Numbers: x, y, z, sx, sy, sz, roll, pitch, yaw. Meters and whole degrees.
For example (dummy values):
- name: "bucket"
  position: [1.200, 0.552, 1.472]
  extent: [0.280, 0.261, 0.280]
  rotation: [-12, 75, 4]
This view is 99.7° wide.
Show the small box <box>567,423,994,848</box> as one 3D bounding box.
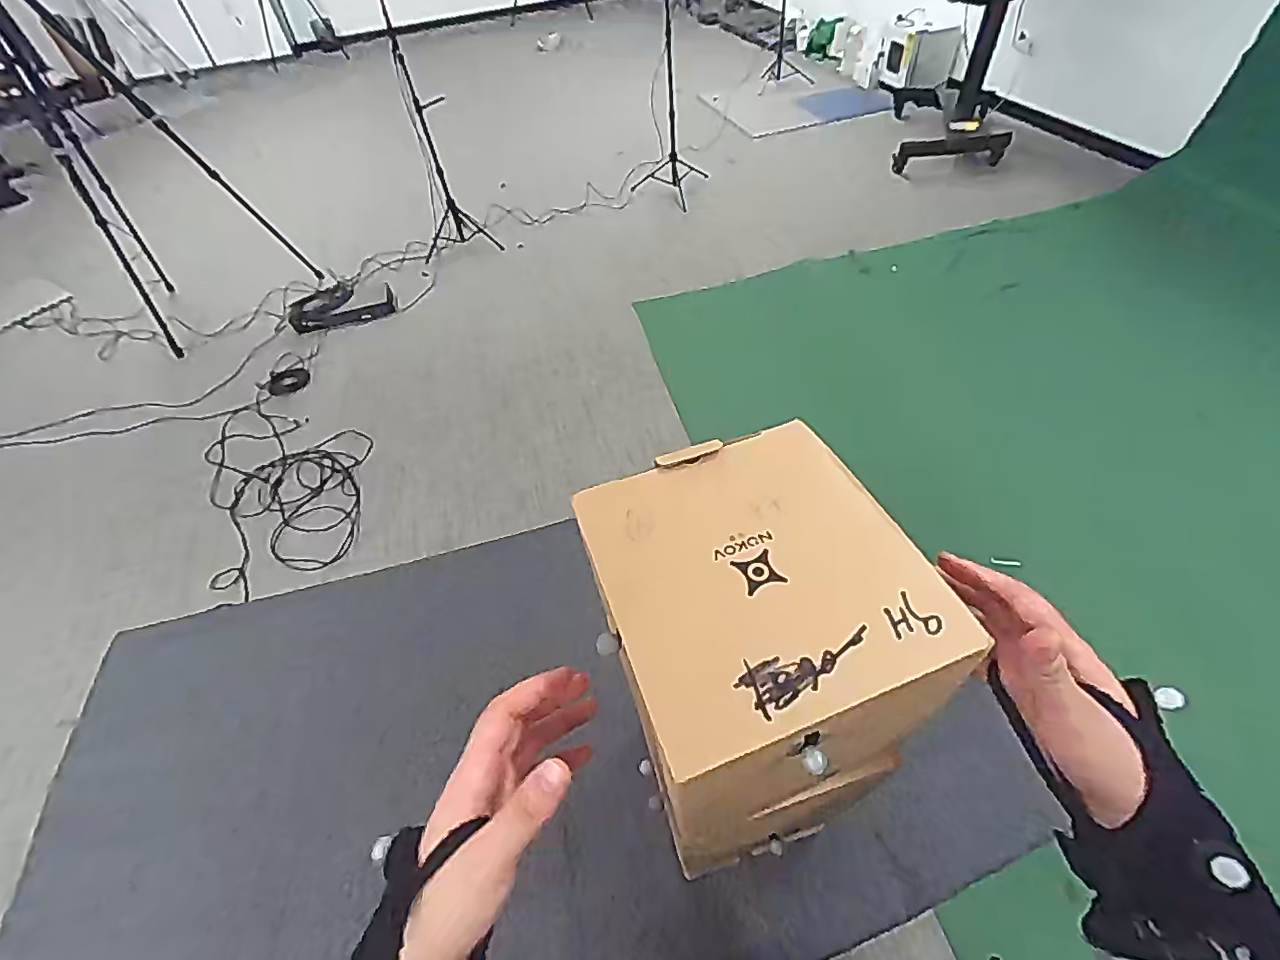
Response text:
- name: "small box"
  position: [0.064, 0.098, 0.345]
  extent: [0.168, 0.176, 0.179]
  rotation: [-19, 49, -9]

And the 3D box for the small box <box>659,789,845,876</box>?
- name: "small box"
  position: [0.096, 0.310, 0.595]
  extent: [0.168, 0.176, 0.179]
  rotation: [-16, 49, -7]
